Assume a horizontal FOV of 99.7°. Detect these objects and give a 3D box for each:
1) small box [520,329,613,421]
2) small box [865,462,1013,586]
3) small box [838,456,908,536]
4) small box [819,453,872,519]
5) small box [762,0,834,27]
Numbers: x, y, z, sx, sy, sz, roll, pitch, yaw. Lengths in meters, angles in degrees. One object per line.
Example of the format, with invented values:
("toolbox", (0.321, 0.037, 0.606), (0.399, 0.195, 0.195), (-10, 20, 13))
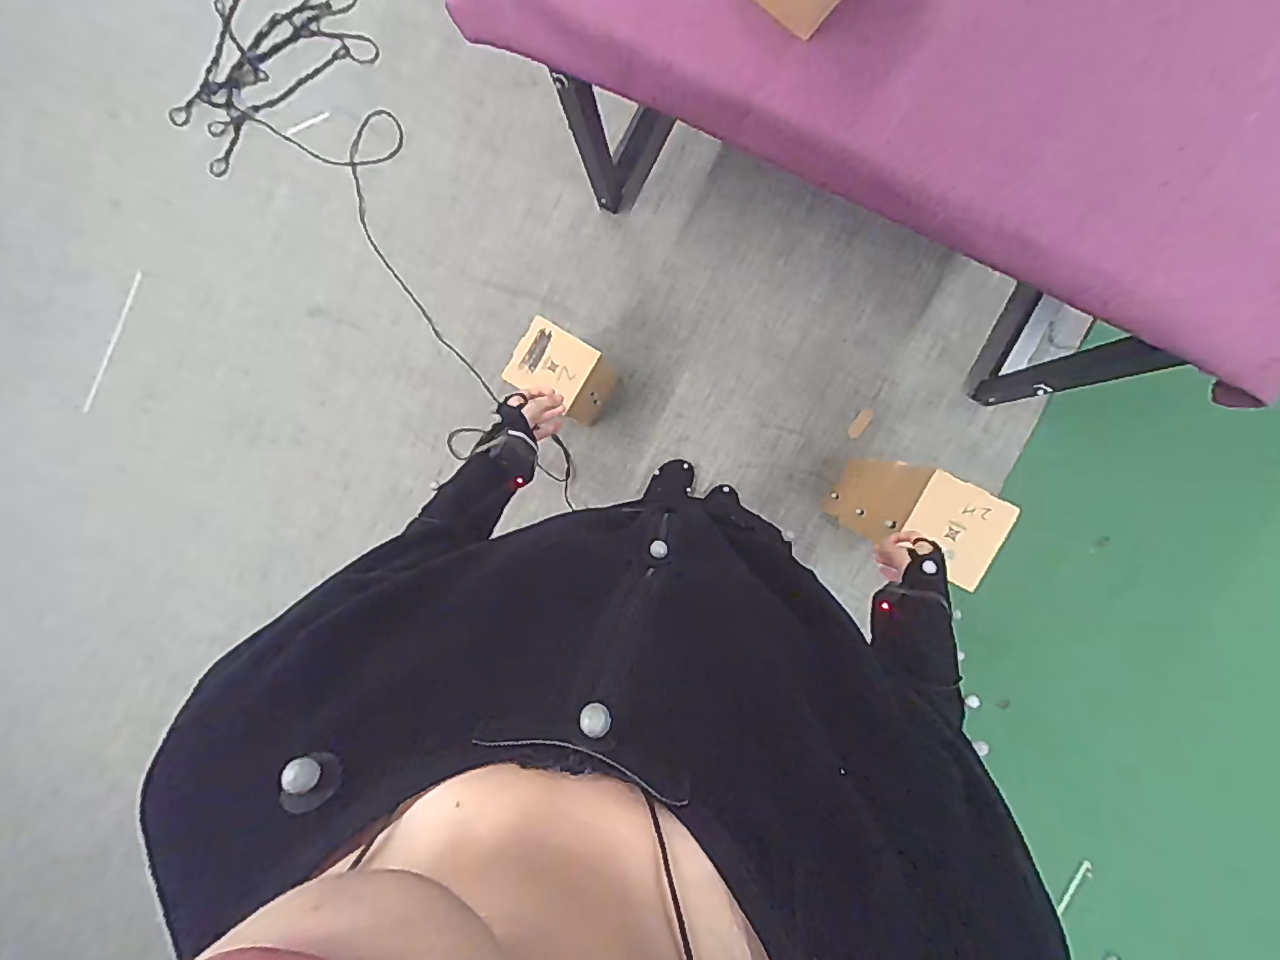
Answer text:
("small box", (-0.186, -0.271, 1.444), (0.168, 0.176, 0.179), (32, 95, 3))
("small box", (0.568, 0.078, 1.060), (0.168, 0.176, 0.179), (28, 95, 3))
("small box", (0.575, 0.056, 1.224), (0.168, 0.176, 0.179), (27, 95, 4))
("small box", (0.586, 0.045, 1.385), (0.179, 0.176, 0.168), (29, 94, 3))
("small box", (0.208, -0.728, 0.665), (0.179, 0.176, 0.168), (41, 95, 2))
